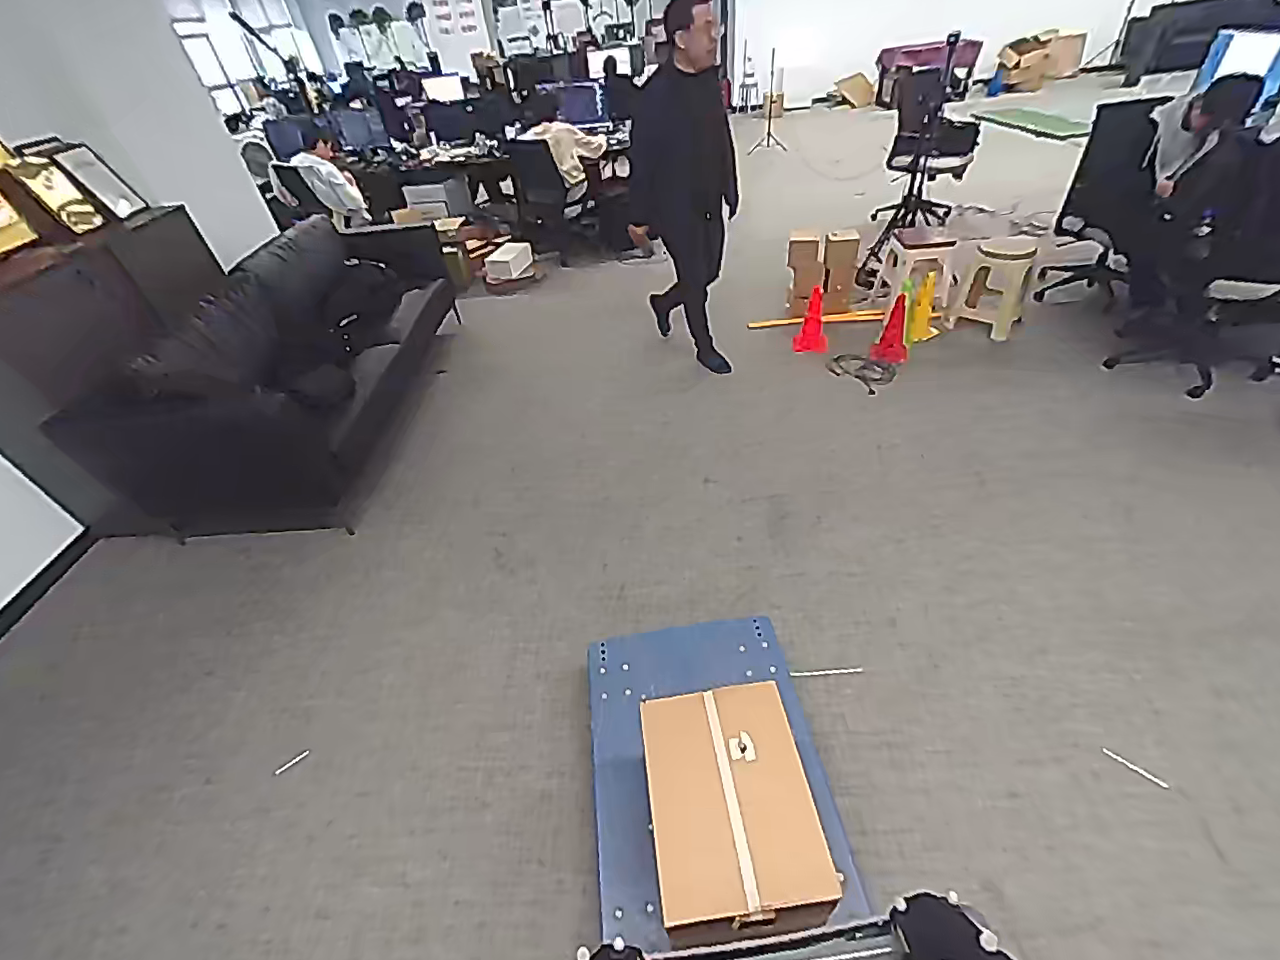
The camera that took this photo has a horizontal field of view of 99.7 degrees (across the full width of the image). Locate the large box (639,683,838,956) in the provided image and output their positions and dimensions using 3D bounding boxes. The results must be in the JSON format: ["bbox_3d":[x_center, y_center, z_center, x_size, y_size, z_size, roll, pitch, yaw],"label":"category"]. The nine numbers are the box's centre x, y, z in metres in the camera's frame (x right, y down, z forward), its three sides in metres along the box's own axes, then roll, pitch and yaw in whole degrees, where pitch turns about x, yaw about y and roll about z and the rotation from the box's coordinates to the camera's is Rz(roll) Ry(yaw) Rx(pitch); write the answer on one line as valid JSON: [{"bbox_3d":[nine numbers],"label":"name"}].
[{"bbox_3d":[0.189,0.726,1.177,0.320,0.320,0.408,-9,41,-1],"label":"large box"}]
